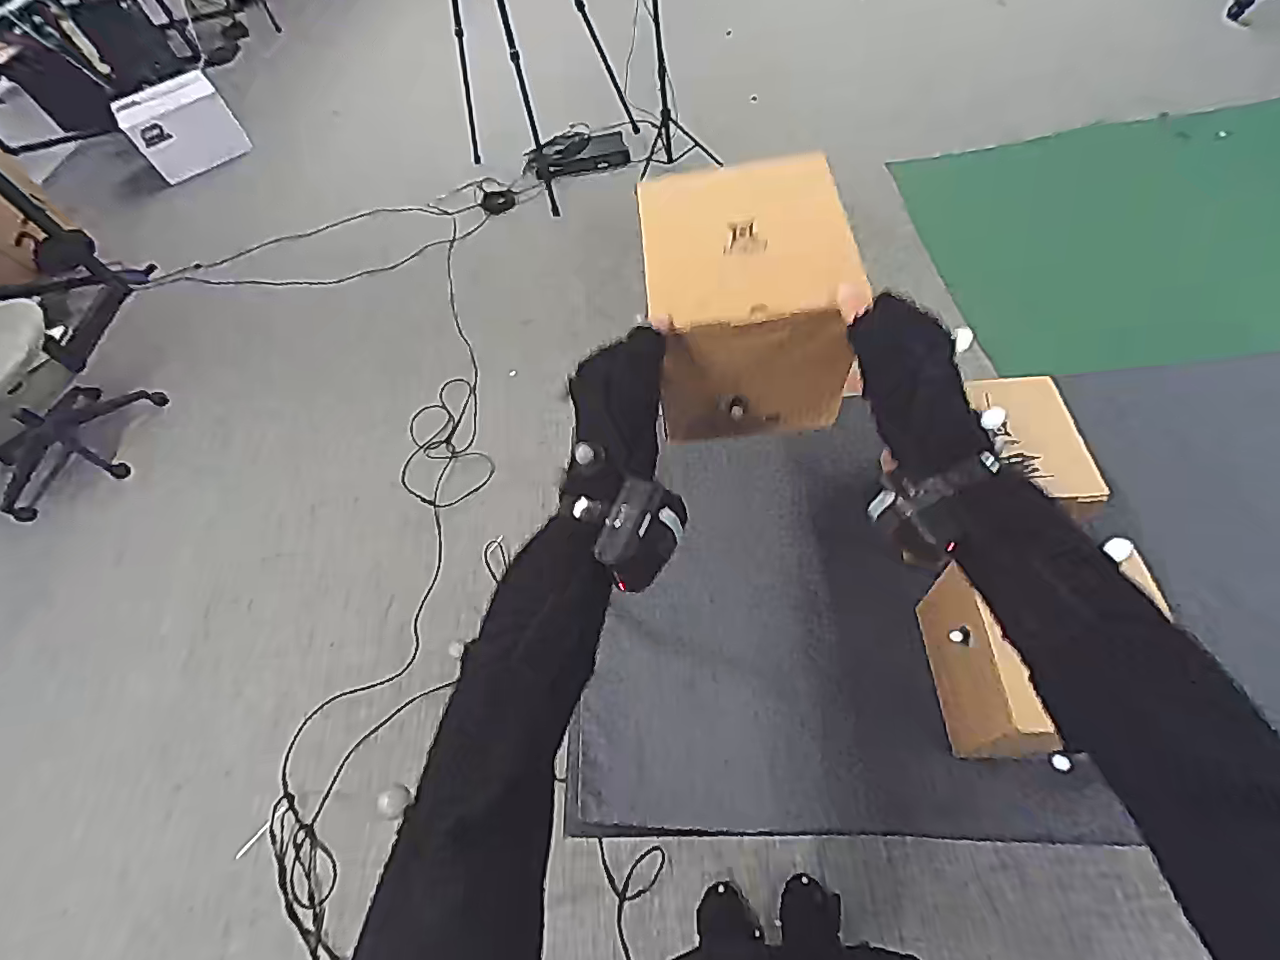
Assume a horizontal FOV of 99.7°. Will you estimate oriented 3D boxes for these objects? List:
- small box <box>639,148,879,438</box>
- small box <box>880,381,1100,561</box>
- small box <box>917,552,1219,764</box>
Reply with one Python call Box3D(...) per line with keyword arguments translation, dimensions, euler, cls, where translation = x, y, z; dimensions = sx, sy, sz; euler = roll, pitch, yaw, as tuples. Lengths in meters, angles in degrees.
Box3D(translation=(0.093, -0.161, 0.498), dimensions=(0.168, 0.176, 0.179), euler=(-8, 64, 5), cls="small box")
Box3D(translation=(0.426, -0.002, 0.696), dimensions=(0.168, 0.176, 0.179), euler=(-3, 57, 8), cls="small box")
Box3D(translation=(0.417, 0.191, 0.572), dimensions=(0.168, 0.176, 0.179), euler=(-3, 57, 8), cls="small box")
